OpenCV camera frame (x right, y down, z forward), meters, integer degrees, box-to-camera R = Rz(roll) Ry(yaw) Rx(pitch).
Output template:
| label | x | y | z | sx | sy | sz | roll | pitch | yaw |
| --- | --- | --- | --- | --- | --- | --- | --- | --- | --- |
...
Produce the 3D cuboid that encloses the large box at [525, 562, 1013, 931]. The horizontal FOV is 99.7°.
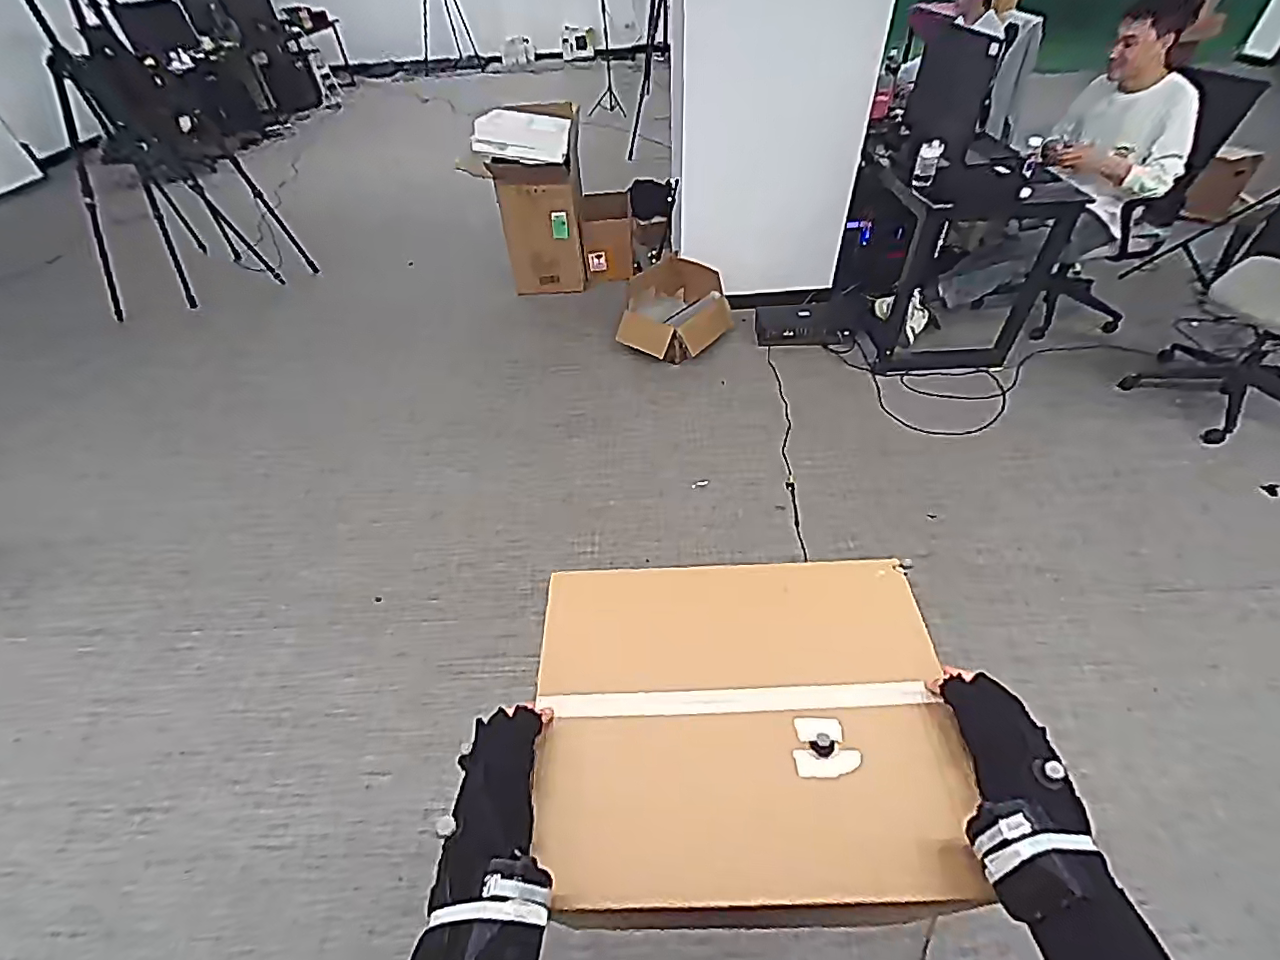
| label | x | y | z | sx | sy | sz | roll | pitch | yaw |
| --- | --- | --- | --- | --- | --- | --- | --- | --- | --- |
| large box | 0.104 | 0.319 | 0.642 | 0.408 | 0.320 | 0.320 | -2 | 48 | 1 |
